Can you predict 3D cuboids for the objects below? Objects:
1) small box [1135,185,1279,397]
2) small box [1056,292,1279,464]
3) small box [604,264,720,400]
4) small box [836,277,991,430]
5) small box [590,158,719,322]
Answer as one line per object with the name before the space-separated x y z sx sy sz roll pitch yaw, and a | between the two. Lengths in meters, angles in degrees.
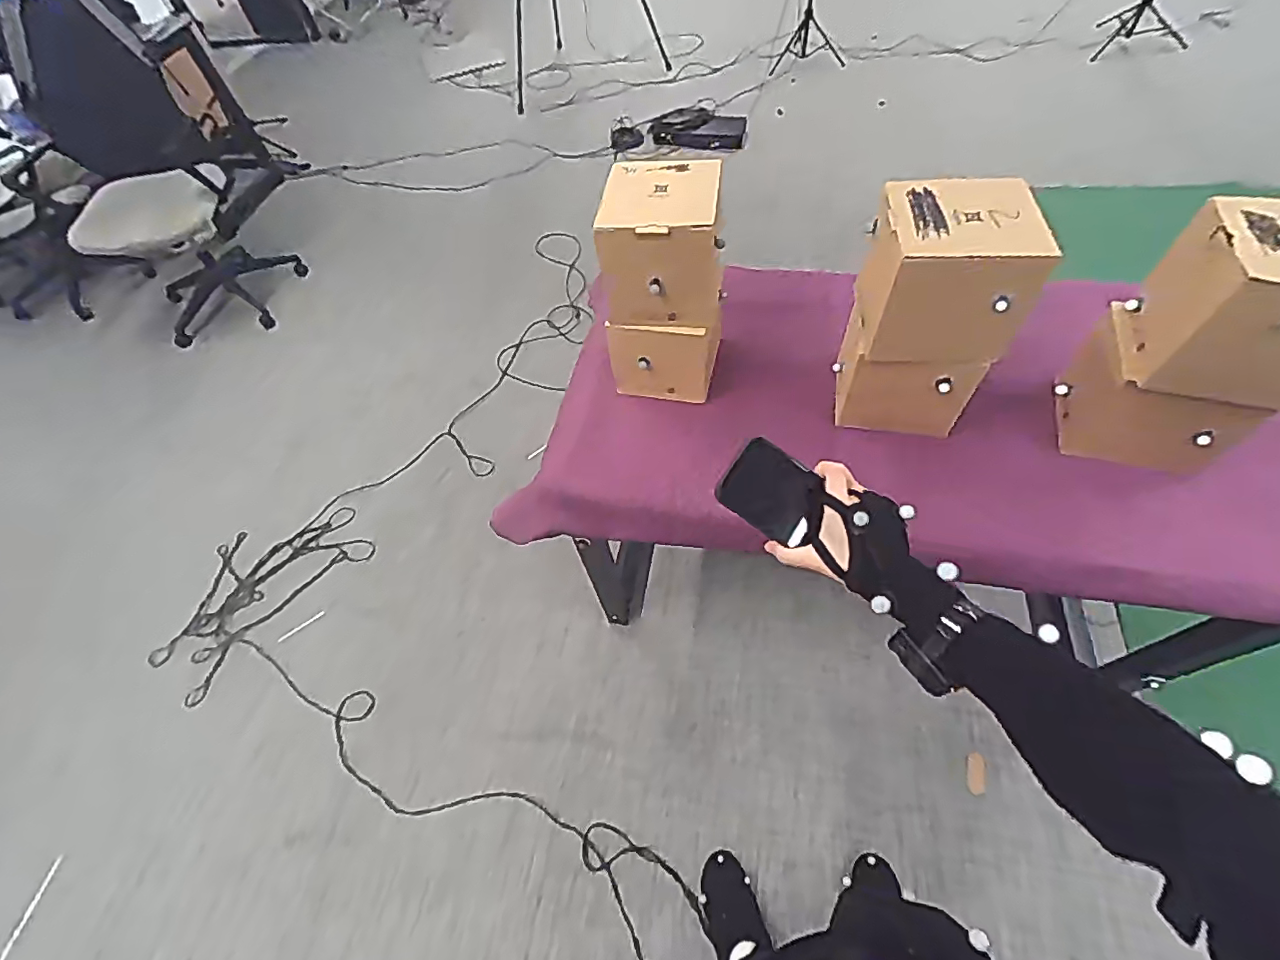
small box | 0.737 -0.220 0.640 0.179 0.176 0.168 13 59 15
small box | 0.749 -0.143 0.785 0.179 0.176 0.168 13 58 16
small box | 0.049 -0.262 0.958 0.168 0.176 0.179 8 58 13
small box | 0.423 -0.197 0.863 0.179 0.176 0.168 7 57 12
small box | 0.033 -0.360 0.827 0.168 0.176 0.179 4 58 9
